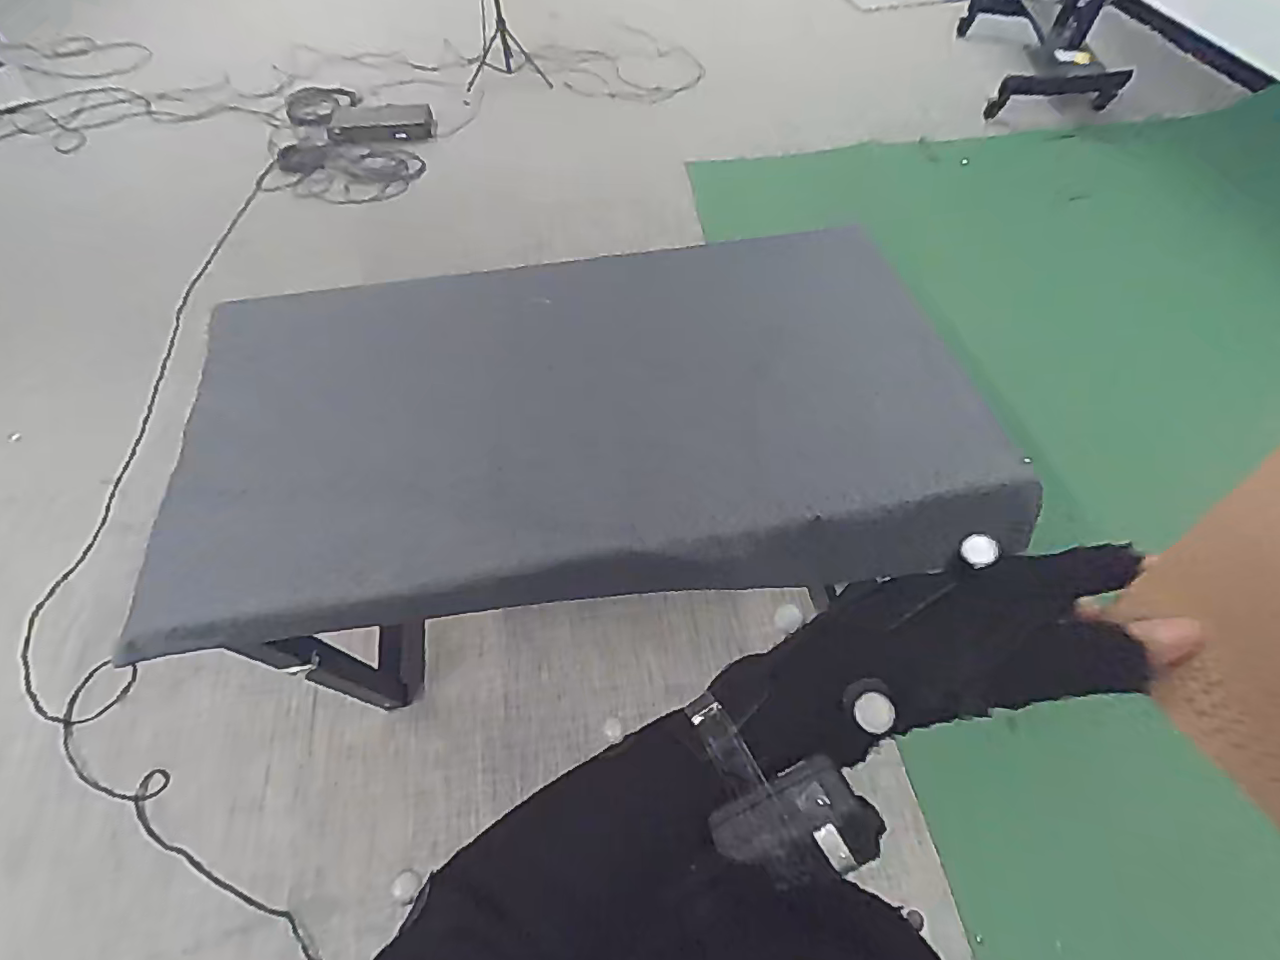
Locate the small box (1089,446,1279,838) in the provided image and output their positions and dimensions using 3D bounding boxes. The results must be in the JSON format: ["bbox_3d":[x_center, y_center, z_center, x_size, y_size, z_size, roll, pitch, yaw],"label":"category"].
[{"bbox_3d":[0.323,0.067,0.177,0.168,0.176,0.179,-1,39,-18],"label":"small box"}]
